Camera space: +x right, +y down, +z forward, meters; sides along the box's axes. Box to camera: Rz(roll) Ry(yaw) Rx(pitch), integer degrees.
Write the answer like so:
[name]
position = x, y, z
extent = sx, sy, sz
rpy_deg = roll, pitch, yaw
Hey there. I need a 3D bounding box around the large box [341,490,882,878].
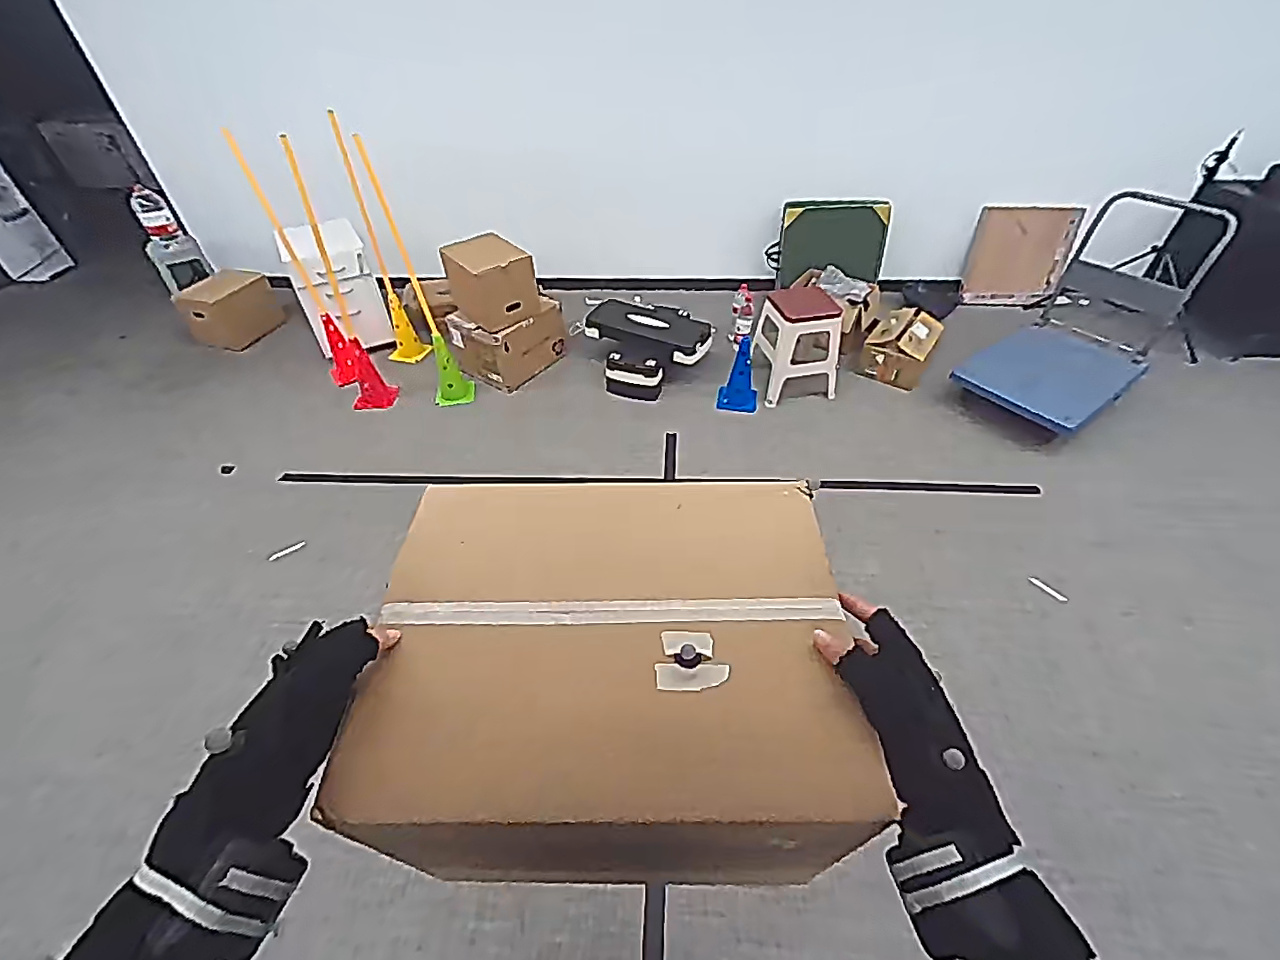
[large box]
position = -0.022, 0.226, 0.599
extent = 0.408, 0.320, 0.320
rpy_deg = 0, 47, 1
